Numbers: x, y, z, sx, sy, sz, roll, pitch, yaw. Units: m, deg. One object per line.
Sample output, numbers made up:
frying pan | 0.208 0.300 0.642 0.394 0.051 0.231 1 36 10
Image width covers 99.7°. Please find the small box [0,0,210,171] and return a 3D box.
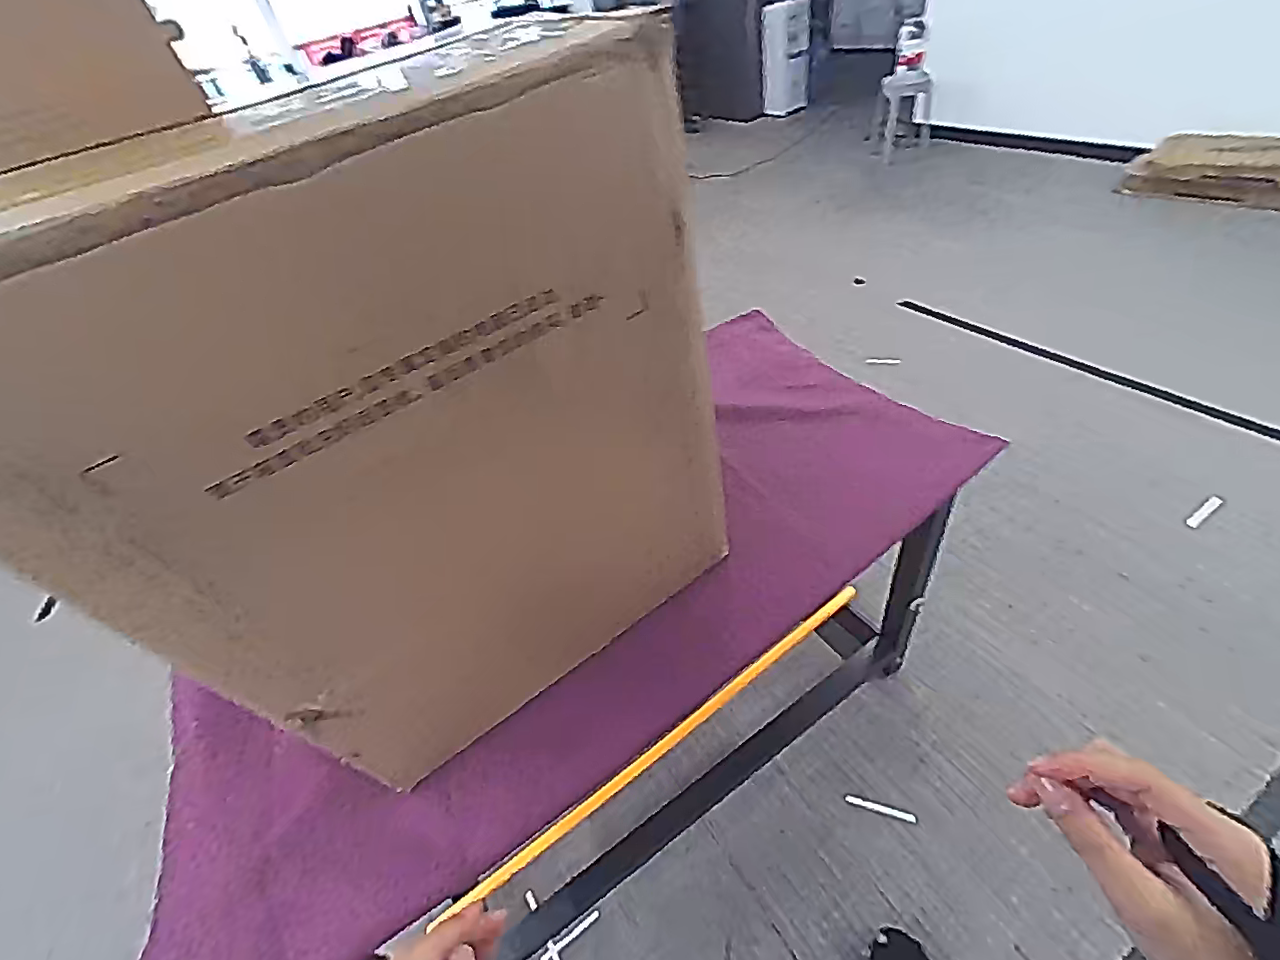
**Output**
small box | -0.454 -0.333 0.378 0.179 0.176 0.168 -33 48 -20
